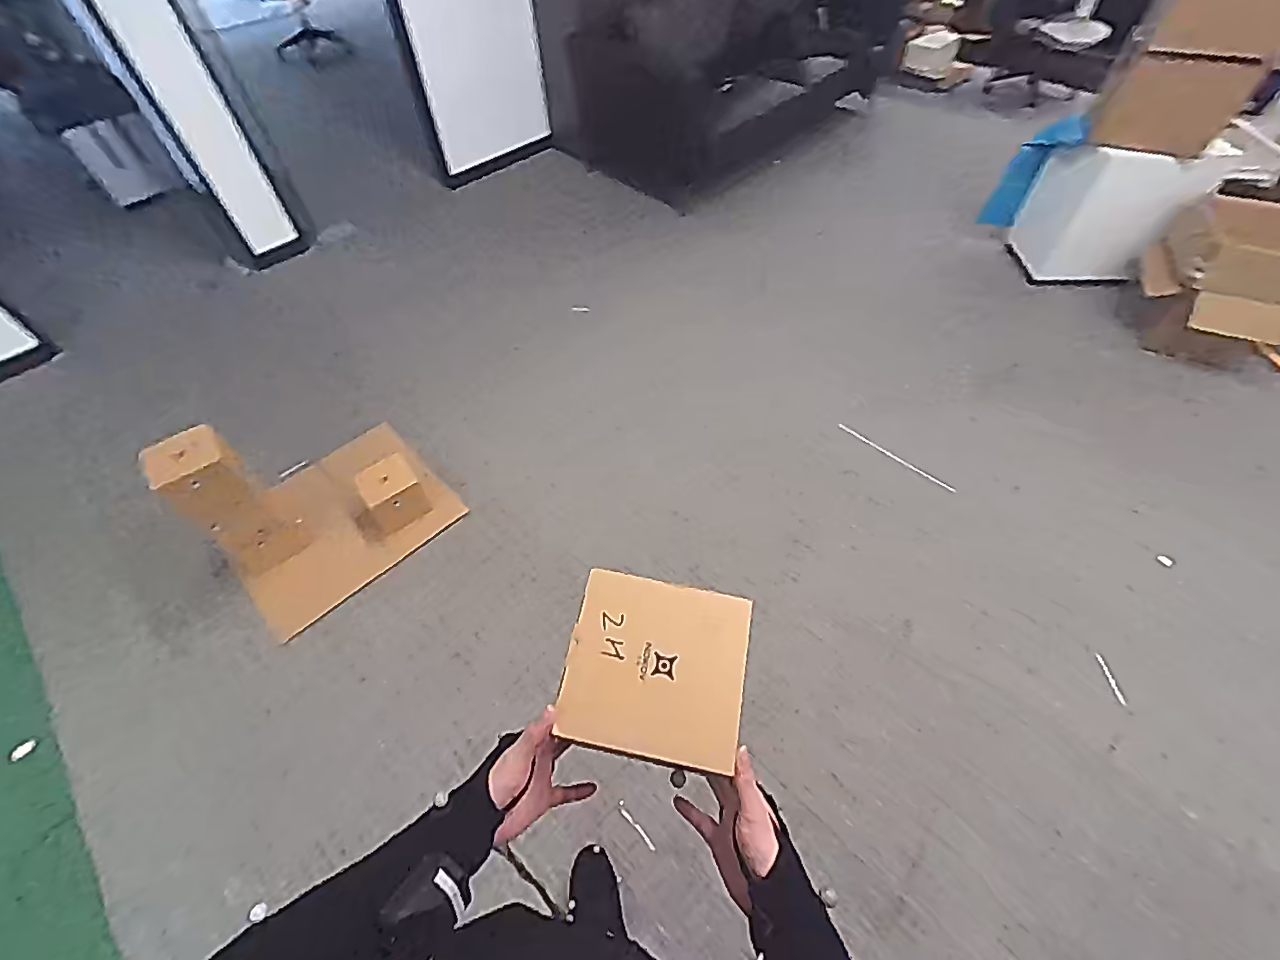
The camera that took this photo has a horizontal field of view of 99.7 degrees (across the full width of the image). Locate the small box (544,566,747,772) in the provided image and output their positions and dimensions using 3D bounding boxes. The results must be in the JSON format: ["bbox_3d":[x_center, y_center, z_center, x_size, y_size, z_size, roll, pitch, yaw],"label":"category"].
[{"bbox_3d":[0.010,0.215,0.604,0.179,0.176,0.168,10,62,6],"label":"small box"}]

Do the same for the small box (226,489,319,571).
[{"bbox_3d":[-1.221,0.172,1.804,0.179,0.176,0.168,-34,60,-22],"label":"small box"}]

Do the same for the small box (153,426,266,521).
[{"bbox_3d":[-1.216,-0.014,1.534,0.179,0.176,0.168,-33,60,-20],"label":"small box"}]

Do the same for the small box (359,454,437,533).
[{"bbox_3d":[-0.832,0.049,1.882,0.179,0.176,0.168,-34,59,-20],"label":"small box"}]
